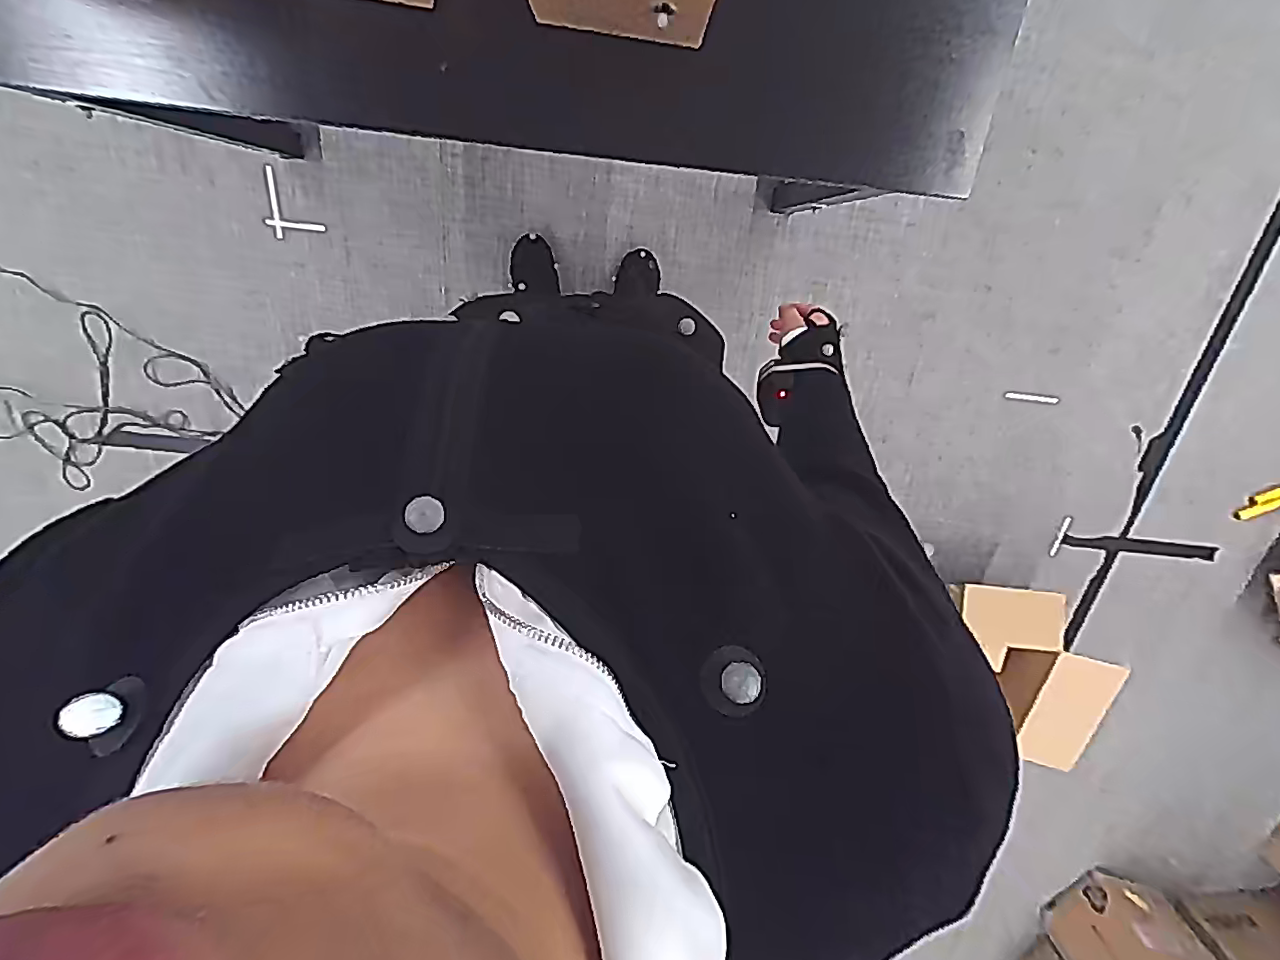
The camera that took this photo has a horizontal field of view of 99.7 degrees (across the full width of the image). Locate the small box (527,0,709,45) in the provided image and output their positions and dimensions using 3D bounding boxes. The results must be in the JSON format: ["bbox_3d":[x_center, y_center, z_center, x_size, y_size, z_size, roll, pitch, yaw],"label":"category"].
[{"bbox_3d":[-0.014,-0.511,0.468,0.179,0.176,0.168,6,112,-3],"label":"small box"}]
